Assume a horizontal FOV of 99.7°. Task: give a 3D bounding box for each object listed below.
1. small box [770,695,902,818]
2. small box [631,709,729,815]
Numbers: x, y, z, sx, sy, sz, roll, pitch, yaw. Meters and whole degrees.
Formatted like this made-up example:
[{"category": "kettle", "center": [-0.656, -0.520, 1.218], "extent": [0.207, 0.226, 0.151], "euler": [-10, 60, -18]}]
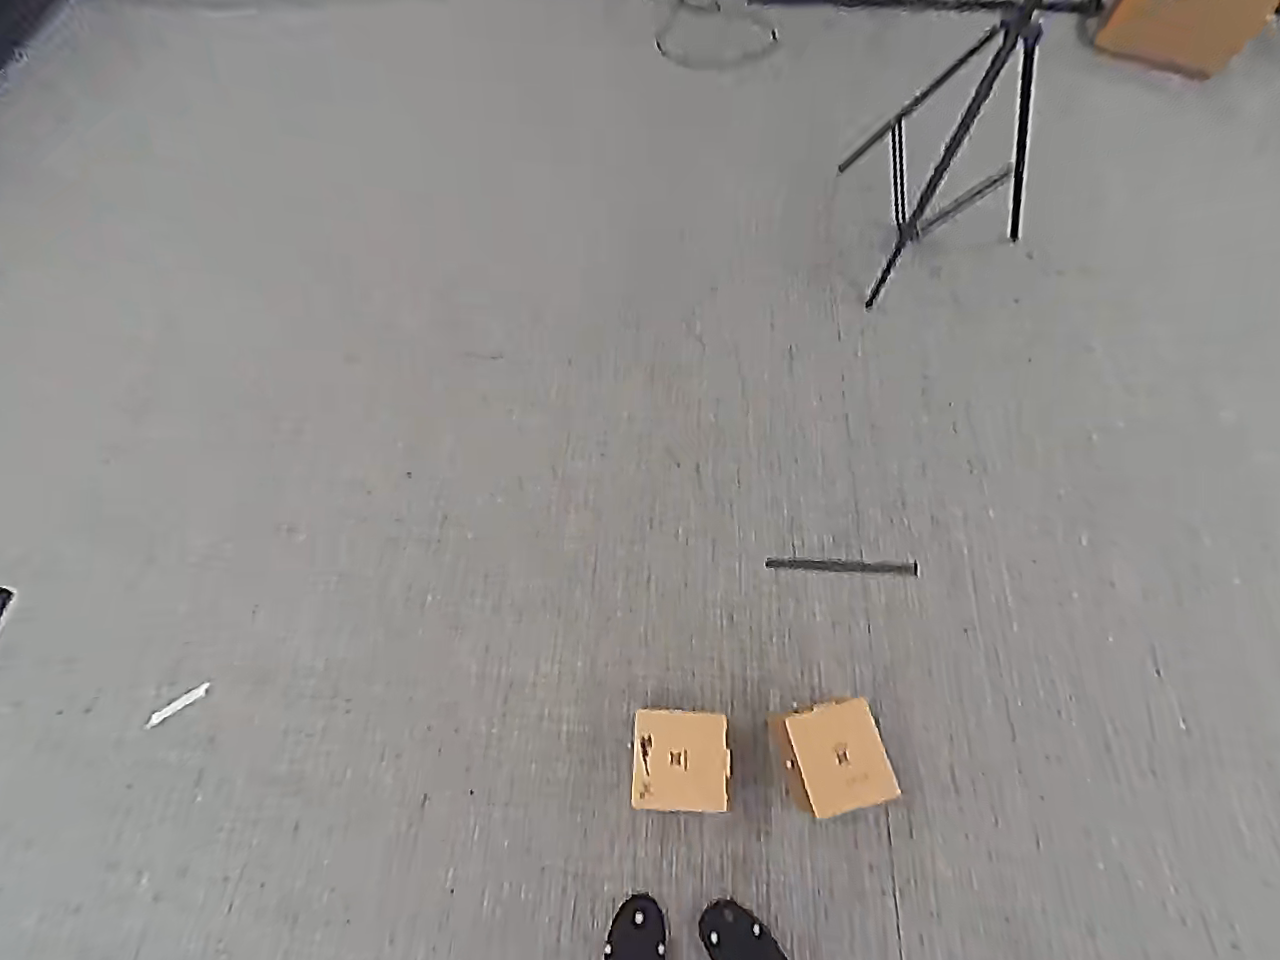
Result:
[{"category": "small box", "center": [0.373, 0.538, 1.068], "extent": [0.168, 0.176, 0.179], "euler": [-14, 67, -4]}, {"category": "small box", "center": [0.076, 0.548, 1.067], "extent": [0.179, 0.176, 0.168], "euler": [3, 65, 2]}]
